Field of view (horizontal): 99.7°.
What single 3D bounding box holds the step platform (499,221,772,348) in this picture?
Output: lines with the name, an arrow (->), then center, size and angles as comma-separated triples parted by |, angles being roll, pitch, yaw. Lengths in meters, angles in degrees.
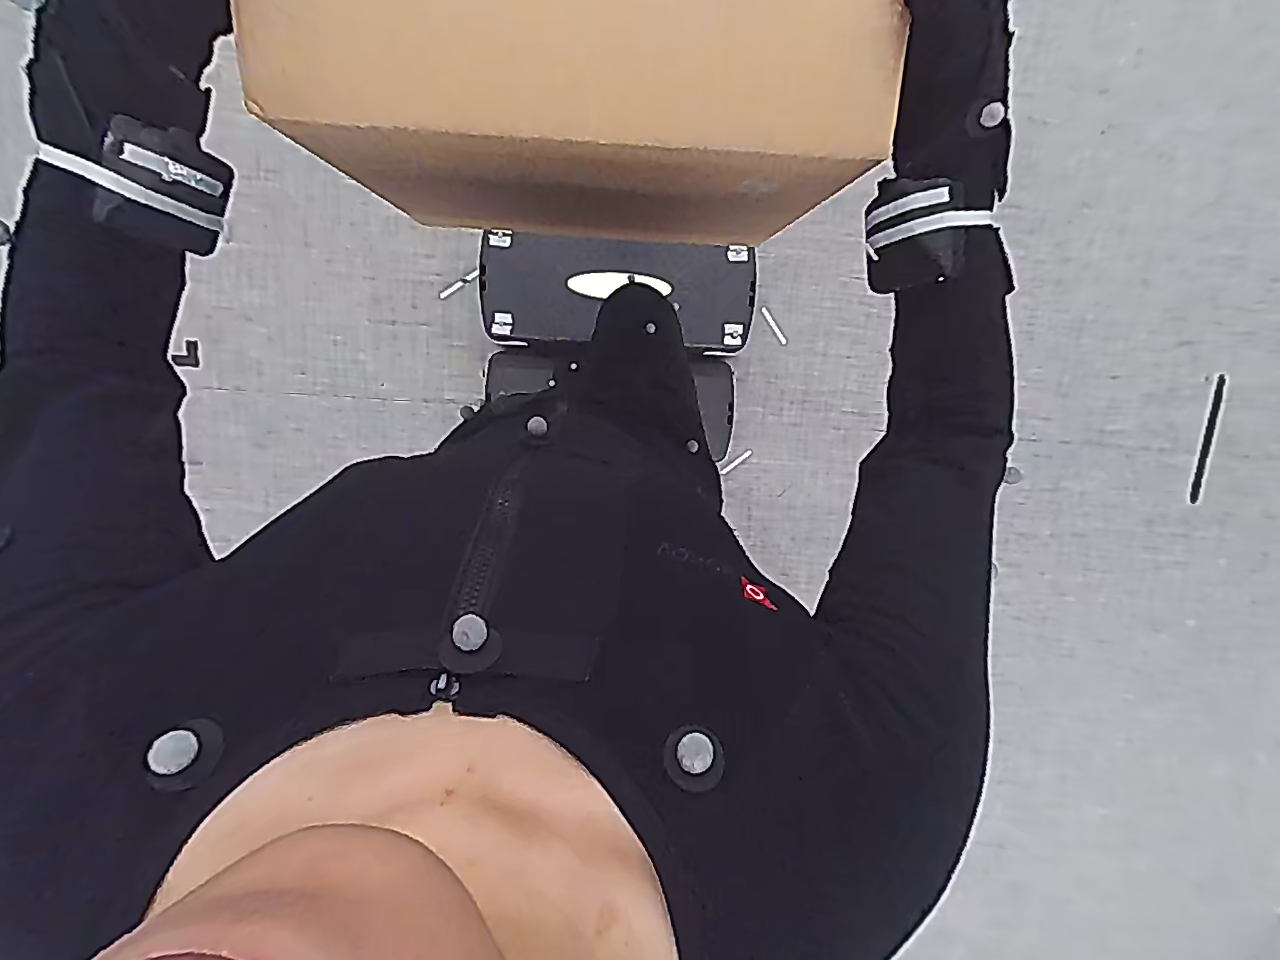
step platform -> -0.012, -0.499, 1.388 | 0.684, 0.204, 0.286 | 1, 101, -4

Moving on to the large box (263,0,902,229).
large box -> -0.038, -0.414, 0.460 | 0.408, 0.320, 0.320 | 1, 105, -4
